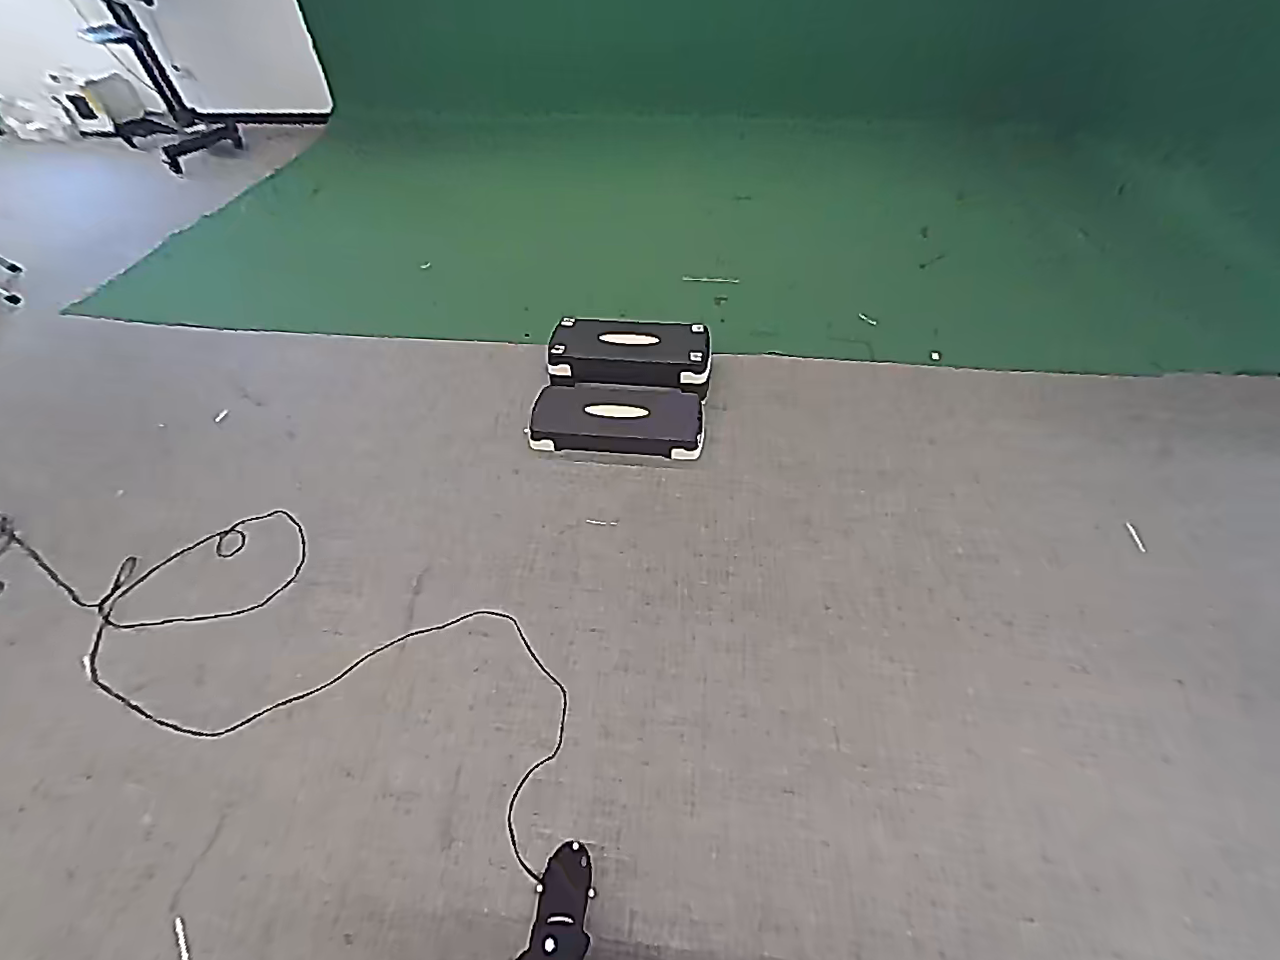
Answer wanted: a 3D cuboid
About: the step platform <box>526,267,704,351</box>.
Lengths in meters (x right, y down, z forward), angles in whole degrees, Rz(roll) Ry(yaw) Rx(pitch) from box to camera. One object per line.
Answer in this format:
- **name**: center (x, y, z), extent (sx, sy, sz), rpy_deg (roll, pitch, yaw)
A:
- **step platform**: center (-0.093, -0.683, 2.164), extent (0.684, 0.204, 0.286), rpy_deg (4, 50, 6)
